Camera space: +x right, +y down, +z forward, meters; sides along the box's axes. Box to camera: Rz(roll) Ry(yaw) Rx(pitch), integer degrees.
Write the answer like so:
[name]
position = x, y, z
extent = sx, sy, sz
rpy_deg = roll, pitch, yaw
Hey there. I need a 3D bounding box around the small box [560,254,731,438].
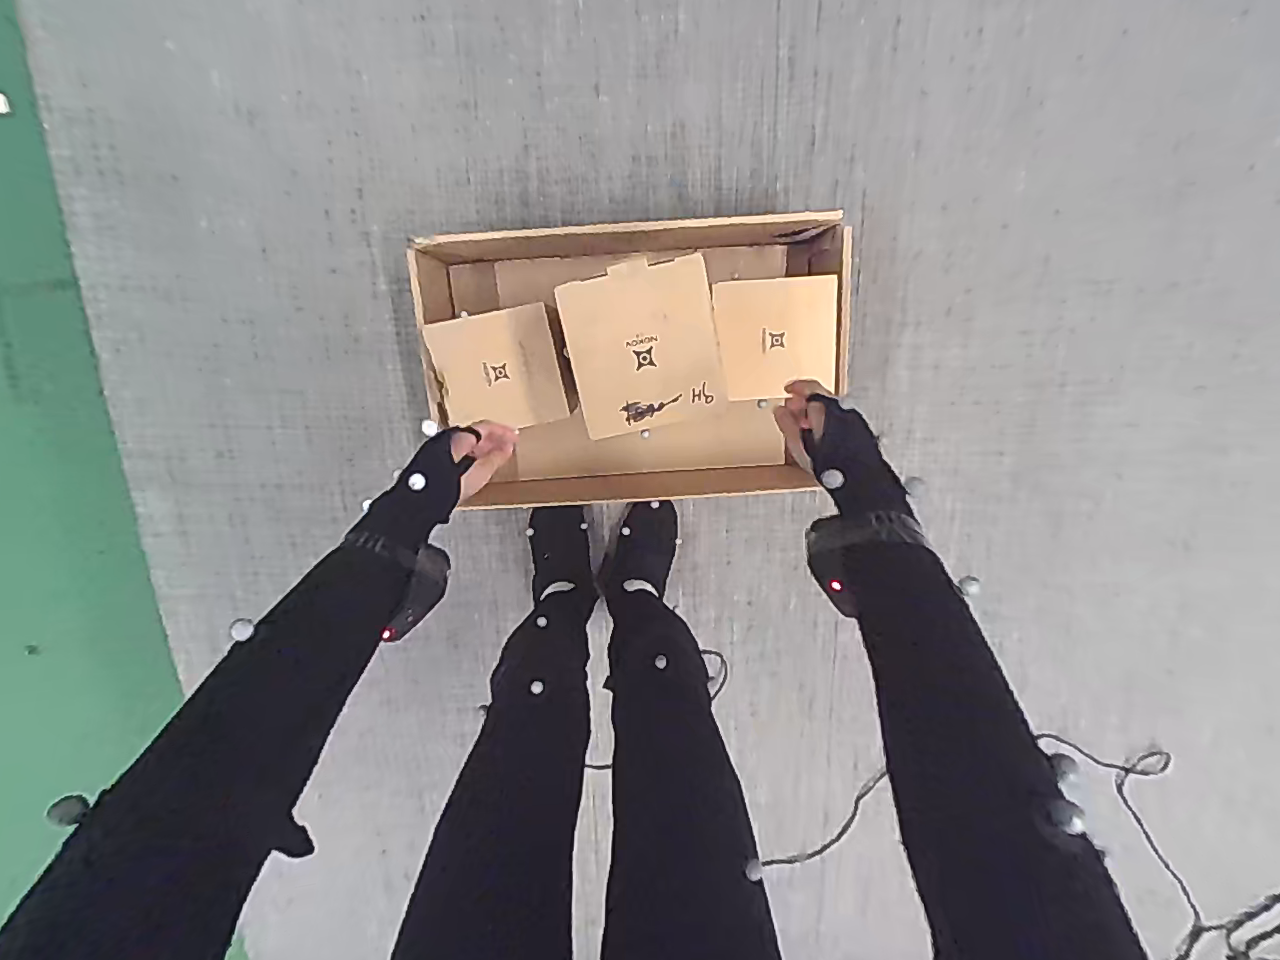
[small box]
position = 0.007, -0.161, 0.675
extent = 0.168, 0.176, 0.179
rpy_deg = -11, 103, 3
